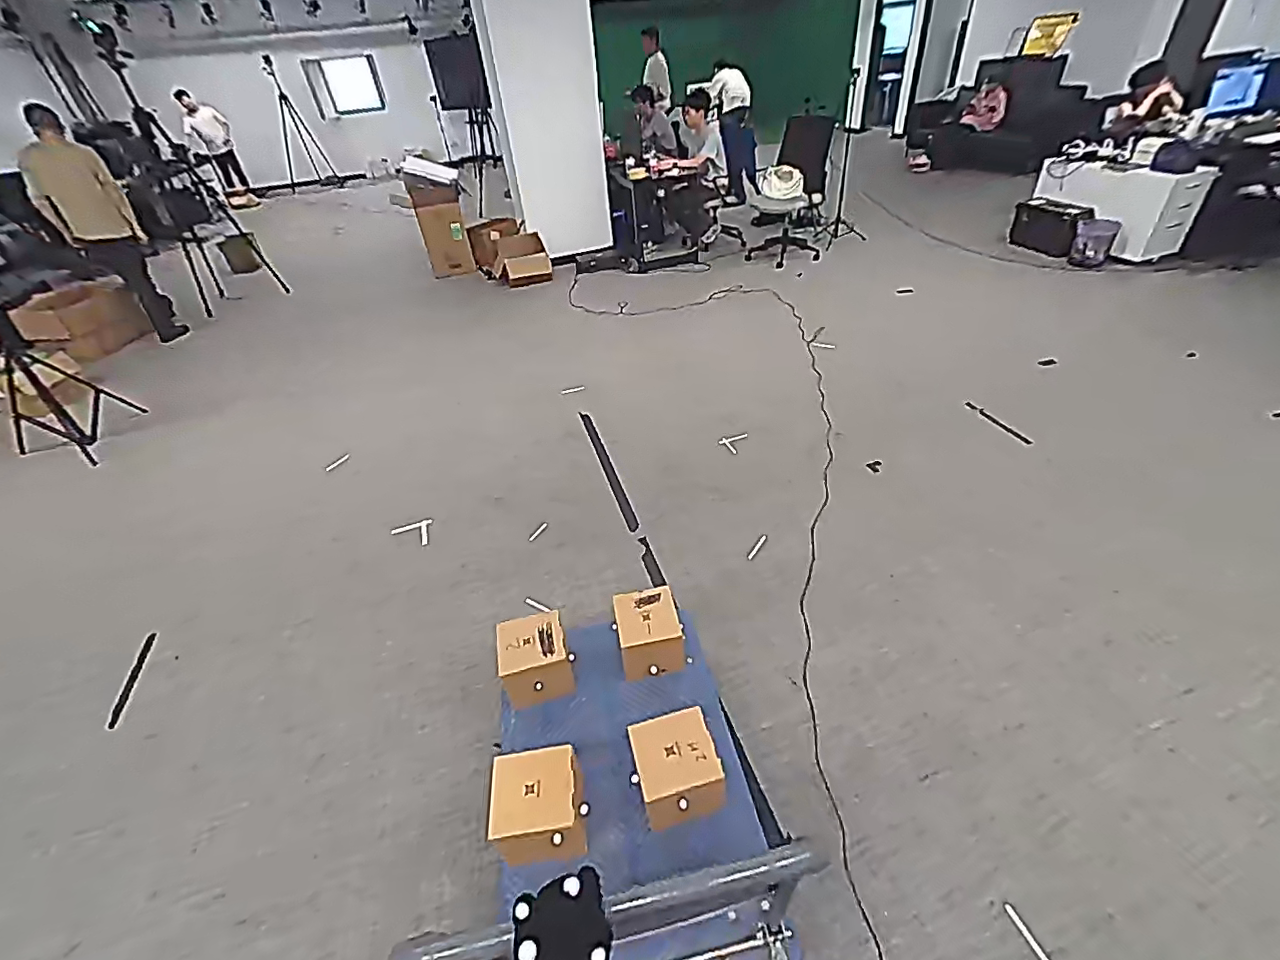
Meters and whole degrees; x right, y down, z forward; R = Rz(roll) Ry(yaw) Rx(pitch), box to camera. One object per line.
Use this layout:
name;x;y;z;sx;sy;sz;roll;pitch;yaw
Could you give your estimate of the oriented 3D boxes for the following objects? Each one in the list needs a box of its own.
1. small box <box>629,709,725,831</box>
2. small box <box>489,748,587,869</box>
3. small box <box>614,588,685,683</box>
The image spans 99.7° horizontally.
small box;0.084;0.656;1.218;0.179;0.176;0.168;-13;39;-8
small box;-0.217;0.720;1.184;0.179;0.176;0.168;-8;38;-4
small box;0.026;0.434;1.510;0.168;0.176;0.179;-10;39;-5
